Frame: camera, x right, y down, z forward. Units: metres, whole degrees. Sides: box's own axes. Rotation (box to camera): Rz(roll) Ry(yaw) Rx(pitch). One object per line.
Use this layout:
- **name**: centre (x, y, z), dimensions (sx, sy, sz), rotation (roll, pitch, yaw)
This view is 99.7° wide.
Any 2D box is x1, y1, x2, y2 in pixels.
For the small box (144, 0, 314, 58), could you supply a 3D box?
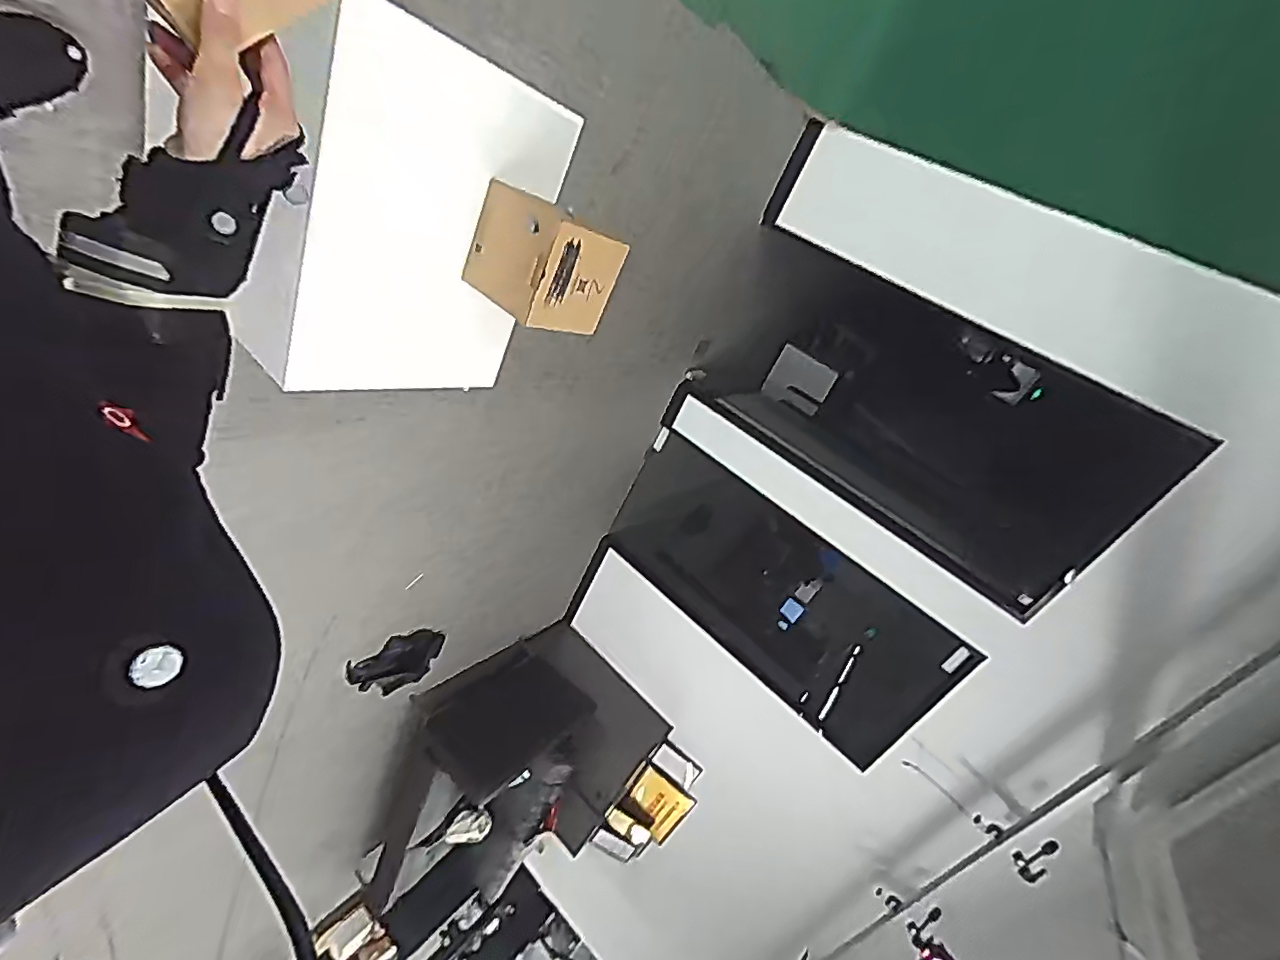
- **small box**: centre (-0.263, -0.391, 0.291), dimensions (0.179, 0.176, 0.168), rotation (-42, 163, -9)
